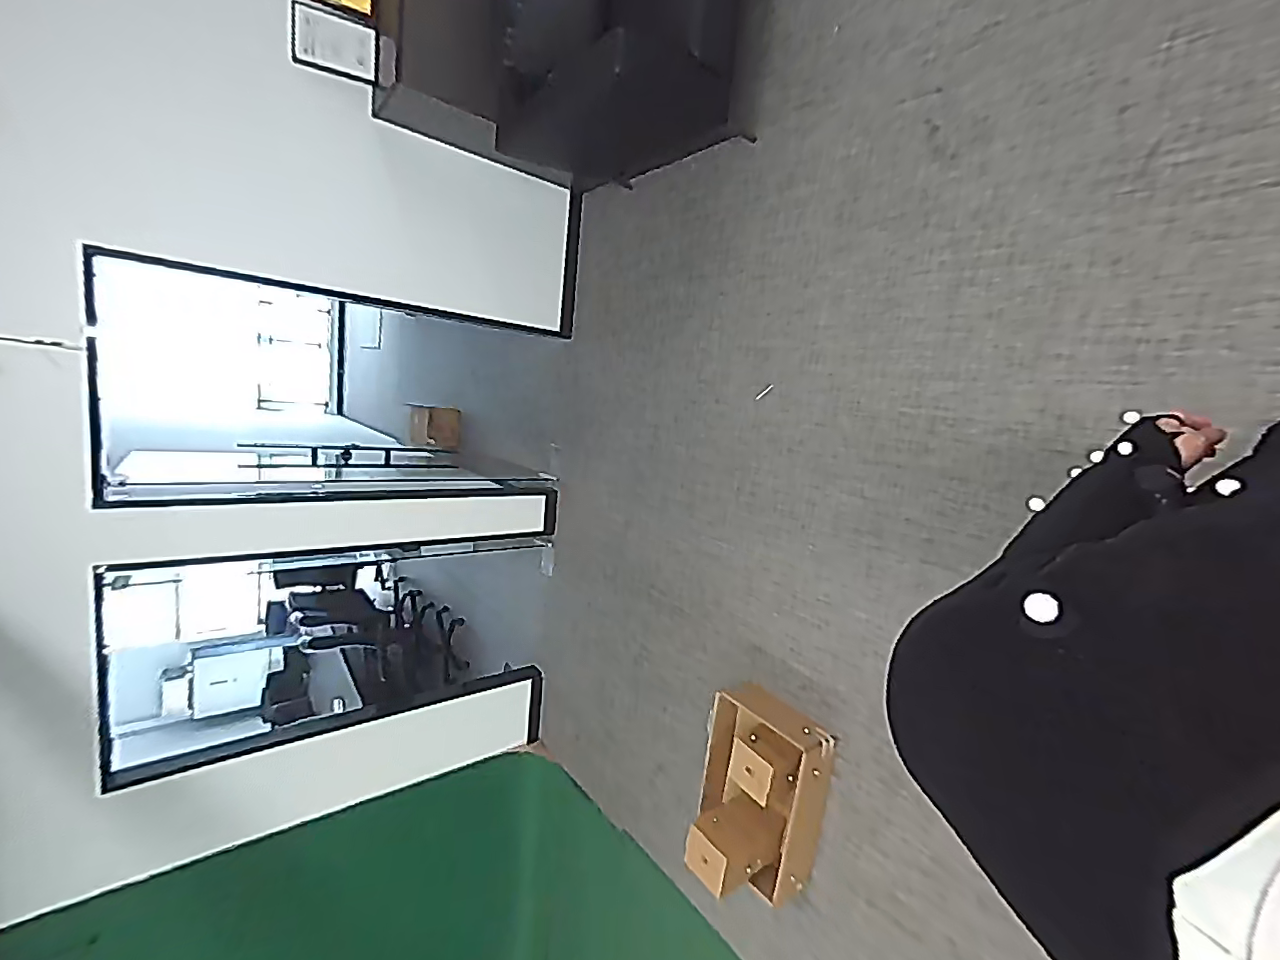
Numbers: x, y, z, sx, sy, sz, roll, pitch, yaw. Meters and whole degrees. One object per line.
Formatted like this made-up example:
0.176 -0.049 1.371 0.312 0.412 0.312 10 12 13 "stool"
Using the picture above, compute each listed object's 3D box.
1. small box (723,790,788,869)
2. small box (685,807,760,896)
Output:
0.413 1.280 1.992 0.179 0.176 0.168 22 108 50 "small box"
0.288 1.282 1.888 0.179 0.176 0.168 21 107 48 "small box"
